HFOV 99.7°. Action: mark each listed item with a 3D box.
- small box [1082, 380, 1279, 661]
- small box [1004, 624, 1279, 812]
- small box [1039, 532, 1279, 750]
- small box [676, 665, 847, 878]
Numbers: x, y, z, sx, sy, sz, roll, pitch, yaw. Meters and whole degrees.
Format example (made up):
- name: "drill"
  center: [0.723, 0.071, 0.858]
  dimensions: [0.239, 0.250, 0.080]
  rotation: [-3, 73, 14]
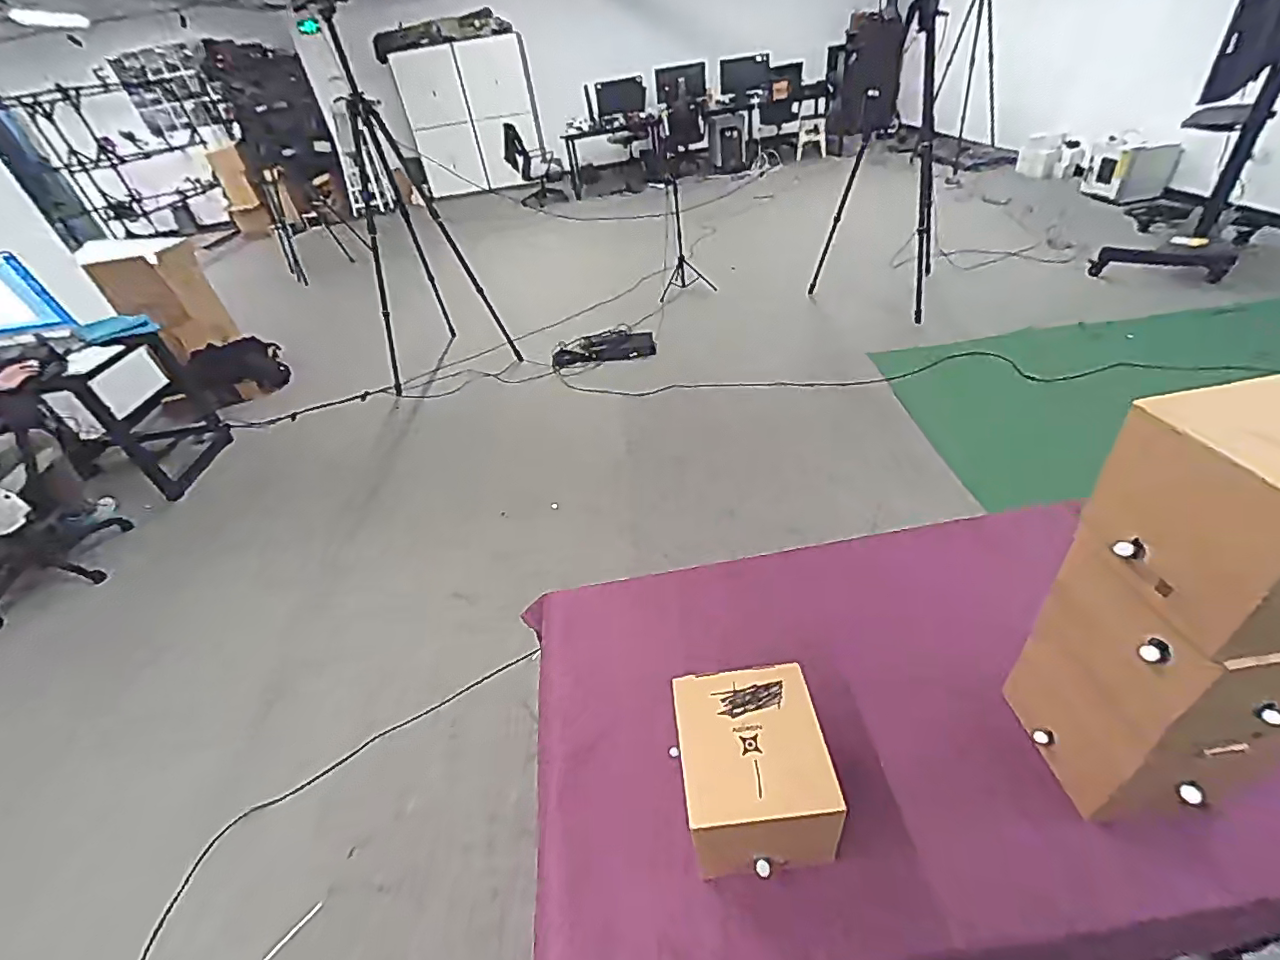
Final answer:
- name: "small box"
  center: [0.547, 0.031, 0.468]
  dimensions: [0.179, 0.176, 0.168]
  rotation: [-10, 37, 1]
- name: "small box"
  center: [0.599, 0.287, 0.669]
  dimensions: [0.168, 0.176, 0.179]
  rotation: [-9, 39, 1]
- name: "small box"
  center: [0.574, 0.160, 0.566]
  dimensions: [0.168, 0.176, 0.179]
  rotation: [-9, 38, 1]
- name: "small box"
  center: [0.139, 0.361, 0.674]
  dimensions: [0.168, 0.176, 0.179]
  rotation: [-8, 39, 2]
